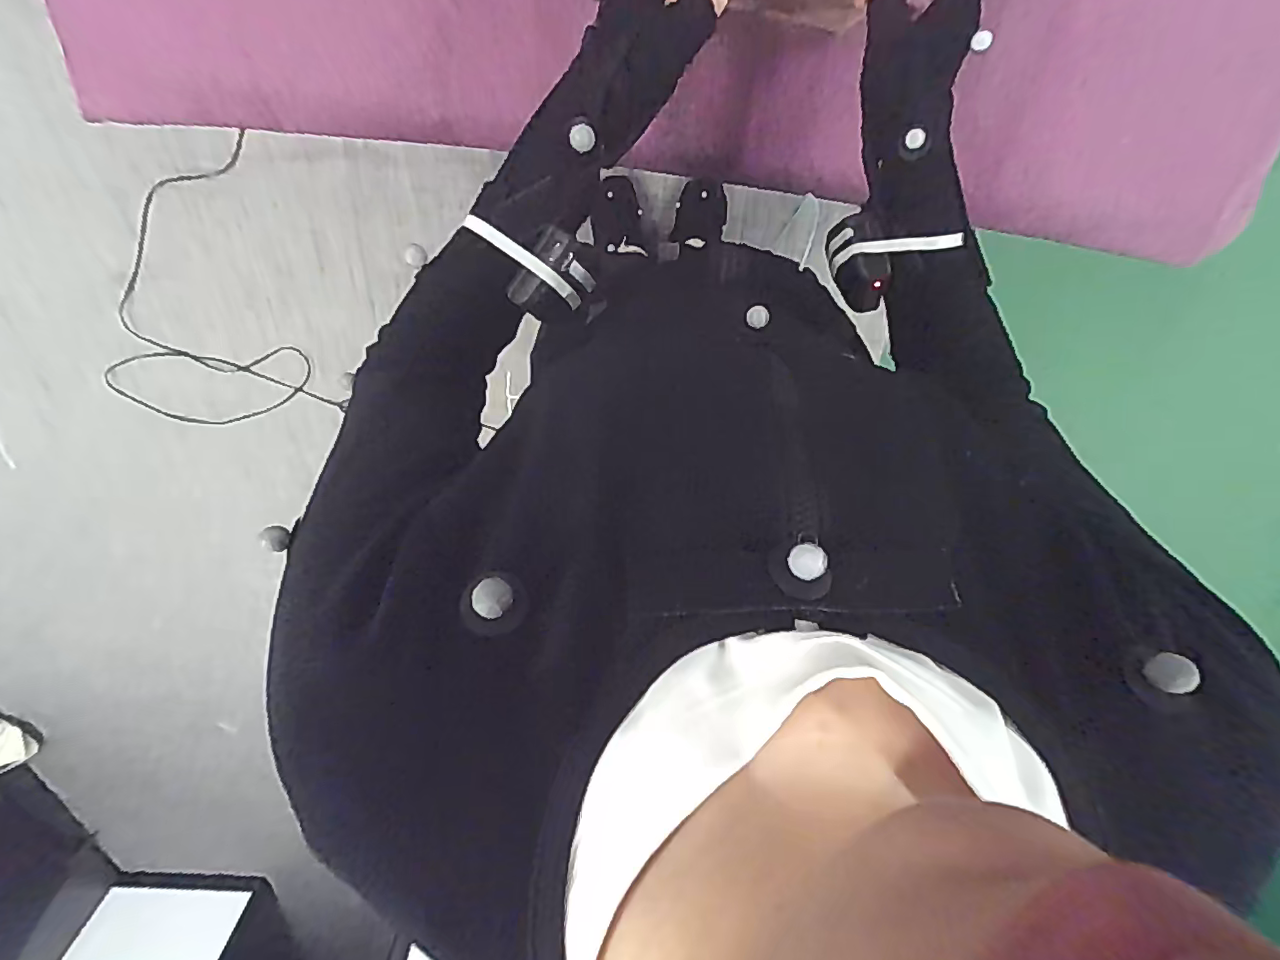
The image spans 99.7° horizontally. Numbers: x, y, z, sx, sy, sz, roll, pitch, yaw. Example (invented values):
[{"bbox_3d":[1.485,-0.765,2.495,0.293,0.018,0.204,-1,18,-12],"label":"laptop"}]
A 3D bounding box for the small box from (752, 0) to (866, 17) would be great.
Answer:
[{"bbox_3d":[0.123,-0.477,0.392,0.168,0.176,0.179,8,123,-4],"label":"small box"}]
